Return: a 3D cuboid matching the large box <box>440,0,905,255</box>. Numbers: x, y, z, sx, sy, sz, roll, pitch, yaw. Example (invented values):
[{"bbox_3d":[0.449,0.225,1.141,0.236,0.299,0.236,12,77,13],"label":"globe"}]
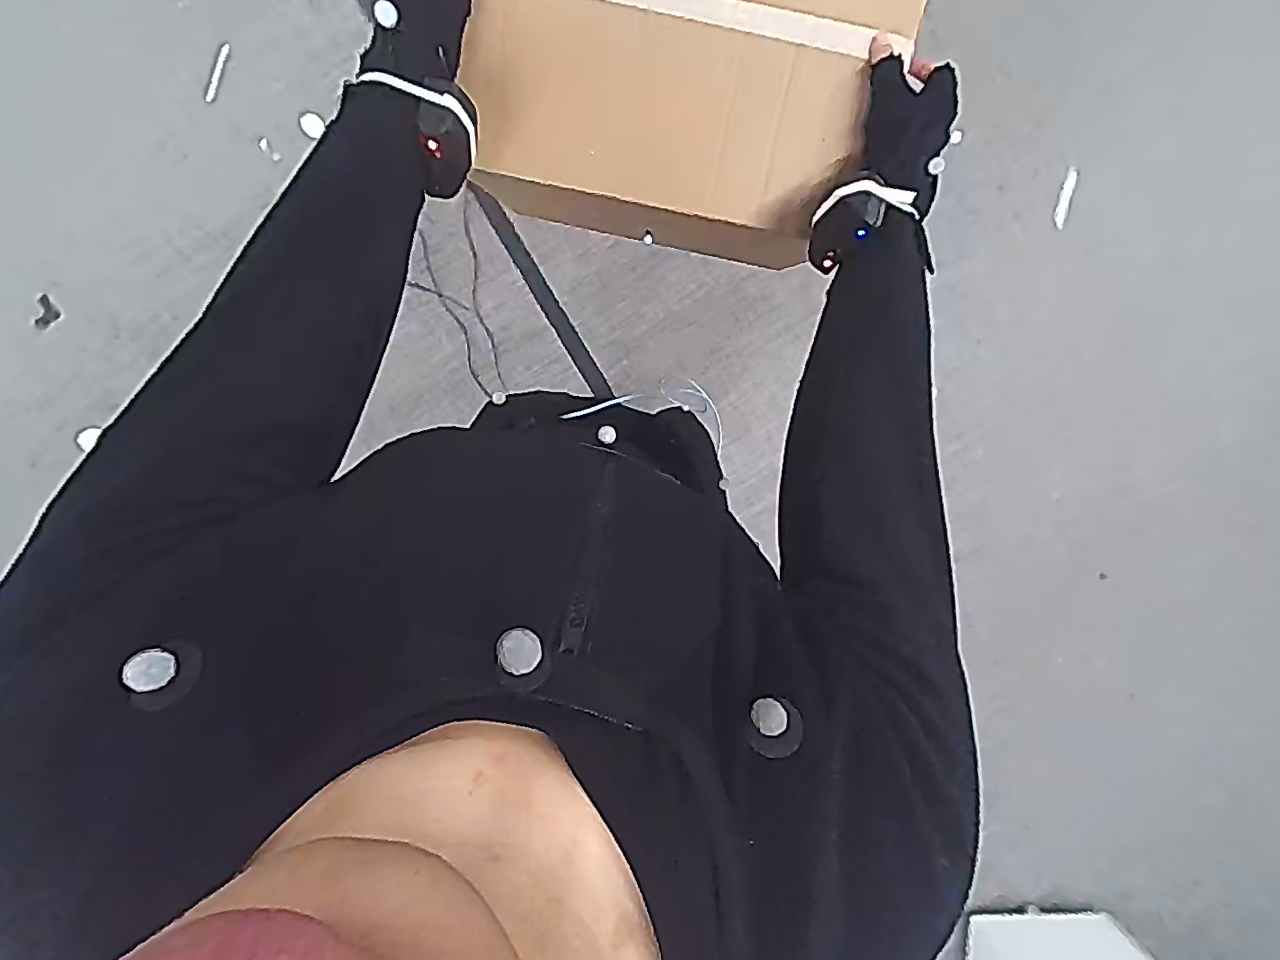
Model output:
[{"bbox_3d":[0.034,-0.459,0.616,0.408,0.320,0.320,10,107,-2],"label":"large box"}]
